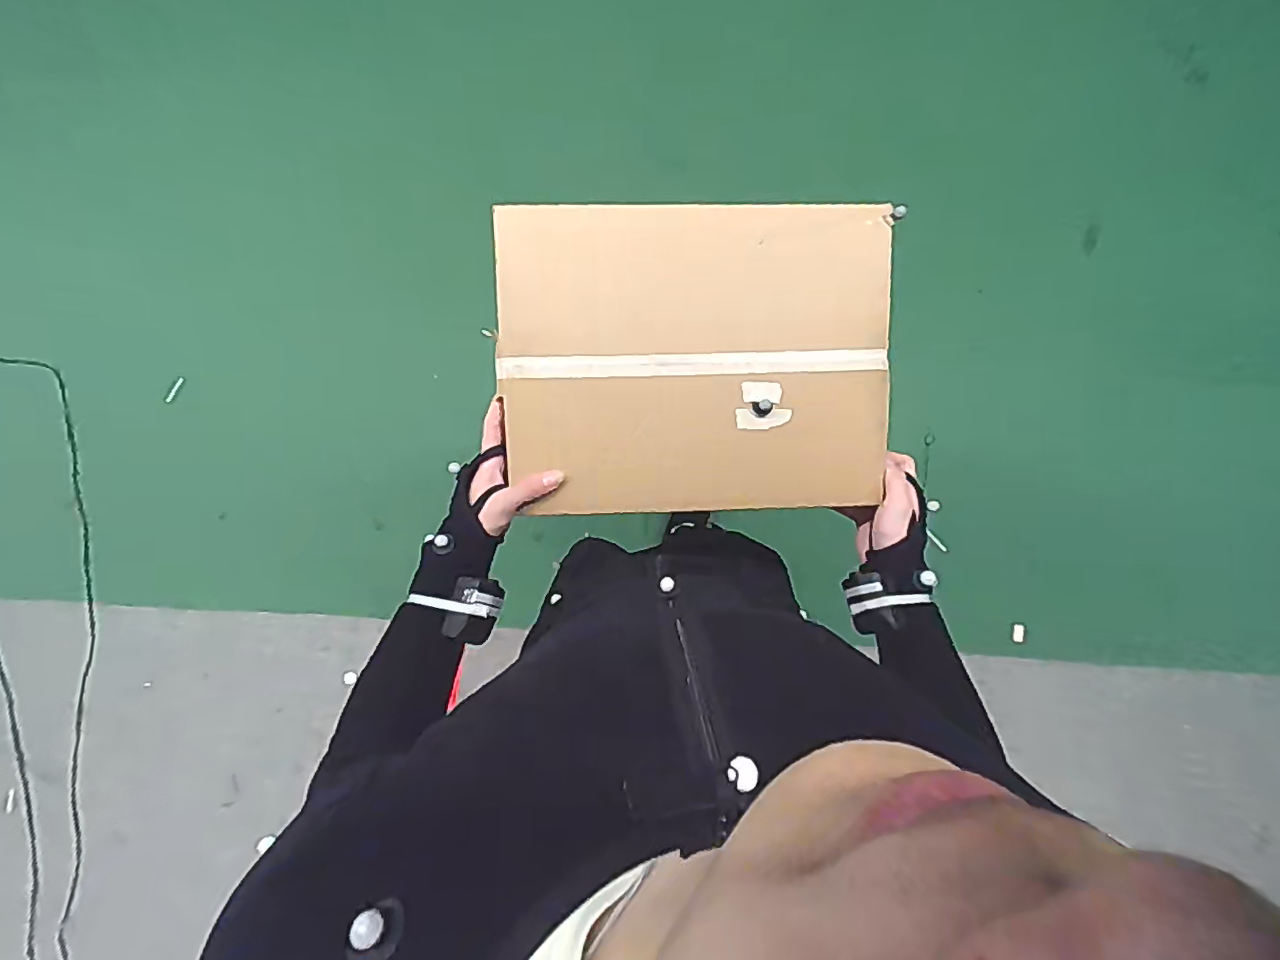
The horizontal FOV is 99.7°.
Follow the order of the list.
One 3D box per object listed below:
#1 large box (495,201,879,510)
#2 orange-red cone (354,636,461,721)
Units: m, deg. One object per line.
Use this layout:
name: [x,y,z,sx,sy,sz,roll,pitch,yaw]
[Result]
large box: [0.046,-0.147,0.717,0.408,0.320,0.320,-2,98,-4]
orange-red cone: [-0.656,0.569,1.453,0.199,0.360,0.198,10,86,4]
